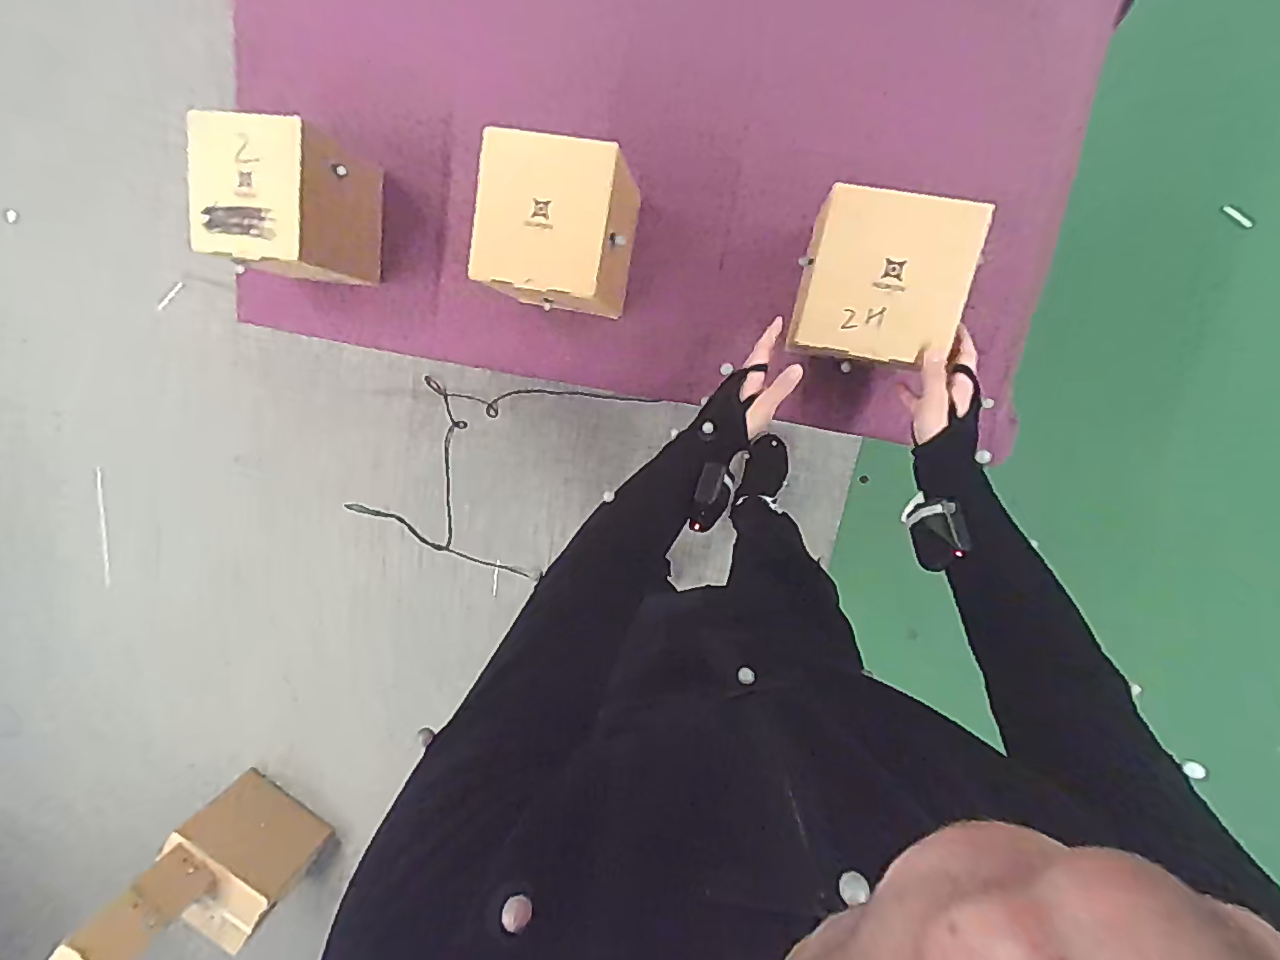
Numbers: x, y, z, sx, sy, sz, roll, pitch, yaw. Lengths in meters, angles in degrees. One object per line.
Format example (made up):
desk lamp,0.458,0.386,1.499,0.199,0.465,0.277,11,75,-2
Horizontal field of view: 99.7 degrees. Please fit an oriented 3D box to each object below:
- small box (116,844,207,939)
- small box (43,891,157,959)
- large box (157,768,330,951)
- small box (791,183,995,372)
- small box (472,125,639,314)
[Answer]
small box,-1.535,1.315,1.711,0.168,0.176,0.179,41,102,-1
small box,-1.552,1.342,1.550,0.168,0.176,0.179,41,104,-1
large box,-1.446,1.352,1.956,0.408,0.320,0.320,34,105,1
small box,0.292,-0.237,0.671,0.168,0.176,0.179,13,103,8
small box,-0.102,-0.332,0.722,0.168,0.176,0.179,12,102,7
